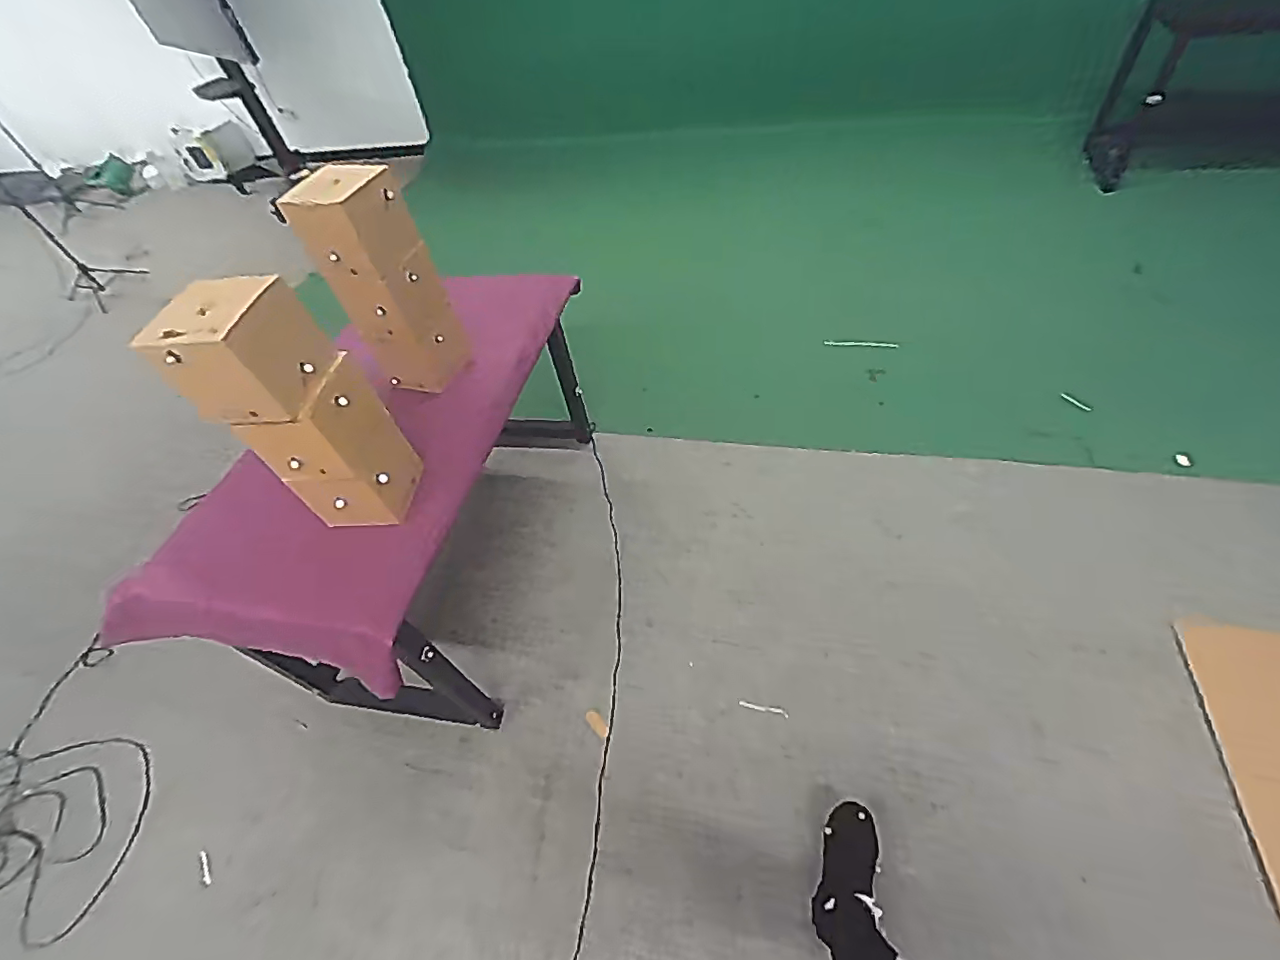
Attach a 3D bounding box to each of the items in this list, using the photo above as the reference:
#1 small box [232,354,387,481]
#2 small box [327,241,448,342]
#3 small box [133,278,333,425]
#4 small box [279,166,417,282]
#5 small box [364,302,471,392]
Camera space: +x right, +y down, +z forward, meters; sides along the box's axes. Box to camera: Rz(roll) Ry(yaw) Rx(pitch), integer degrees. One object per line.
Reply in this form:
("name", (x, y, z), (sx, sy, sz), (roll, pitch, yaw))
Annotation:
("small box", (-0.615, -0.116, 1.030), (0.168, 0.176, 0.179), (-1, 52, 9))
("small box", (-0.592, -0.454, 1.300), (0.168, 0.176, 0.179), (11, 54, 16))
("small box", (-0.655, -0.211, 0.901), (0.168, 0.176, 0.179), (-1, 51, 10))
("small box", (-0.616, -0.556, 1.173), (0.168, 0.176, 0.179), (9, 54, 16))
("small box", (-0.575, -0.355, 1.428), (0.168, 0.176, 0.179), (11, 53, 17))
